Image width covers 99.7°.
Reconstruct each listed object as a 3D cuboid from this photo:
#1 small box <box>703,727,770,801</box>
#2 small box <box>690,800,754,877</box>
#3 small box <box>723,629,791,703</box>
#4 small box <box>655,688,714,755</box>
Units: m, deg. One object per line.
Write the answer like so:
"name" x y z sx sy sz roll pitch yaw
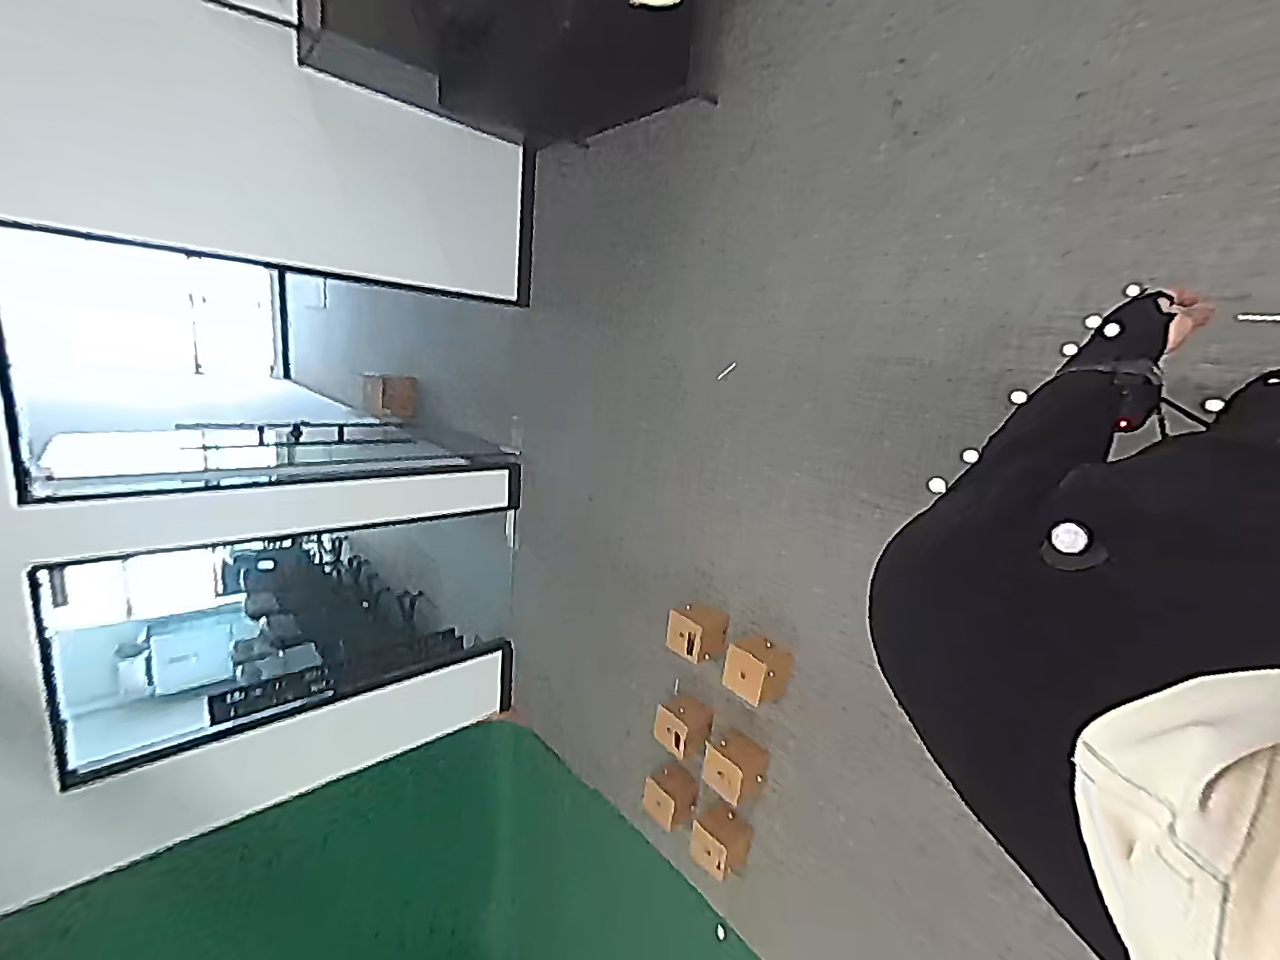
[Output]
"small box" 0.373 1.091 2.098 0.179 0.176 0.168 22 111 45
"small box" 0.331 1.435 2.186 0.179 0.176 0.168 21 110 47
"small box" 0.433 0.675 1.985 0.168 0.176 0.179 23 110 45
"small box" 0.191 1.016 2.294 0.179 0.176 0.168 23 111 45
